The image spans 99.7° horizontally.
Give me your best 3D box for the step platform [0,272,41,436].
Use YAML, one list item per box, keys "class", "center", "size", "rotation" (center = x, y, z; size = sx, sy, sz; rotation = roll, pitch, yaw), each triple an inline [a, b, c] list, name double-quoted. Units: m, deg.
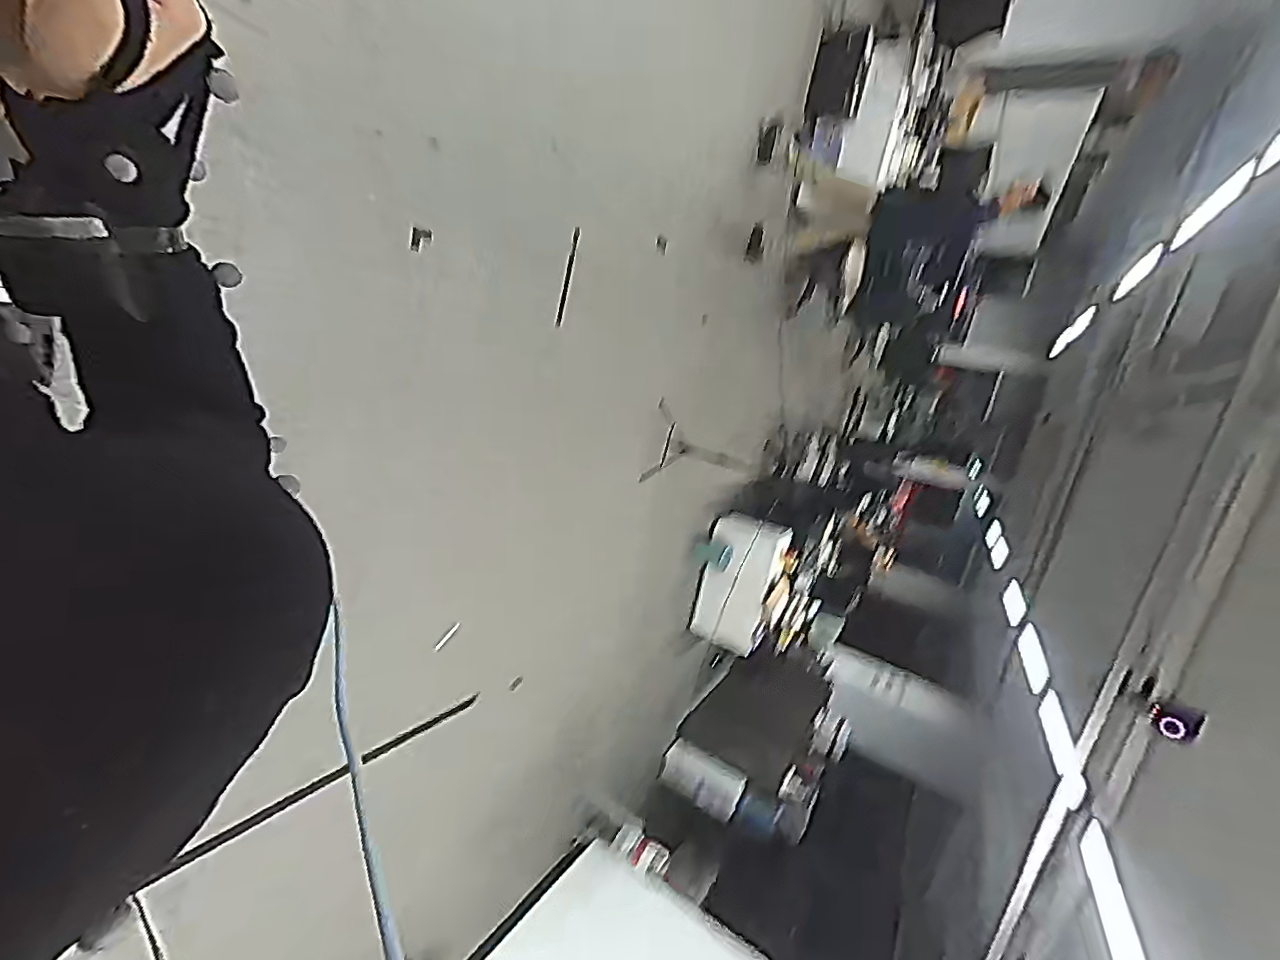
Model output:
- class: "step platform"
  center: [-1.292, -0.237, 0.706]
  size: [0.684, 0.204, 0.286]
  rotation: [5, 102, -60]
